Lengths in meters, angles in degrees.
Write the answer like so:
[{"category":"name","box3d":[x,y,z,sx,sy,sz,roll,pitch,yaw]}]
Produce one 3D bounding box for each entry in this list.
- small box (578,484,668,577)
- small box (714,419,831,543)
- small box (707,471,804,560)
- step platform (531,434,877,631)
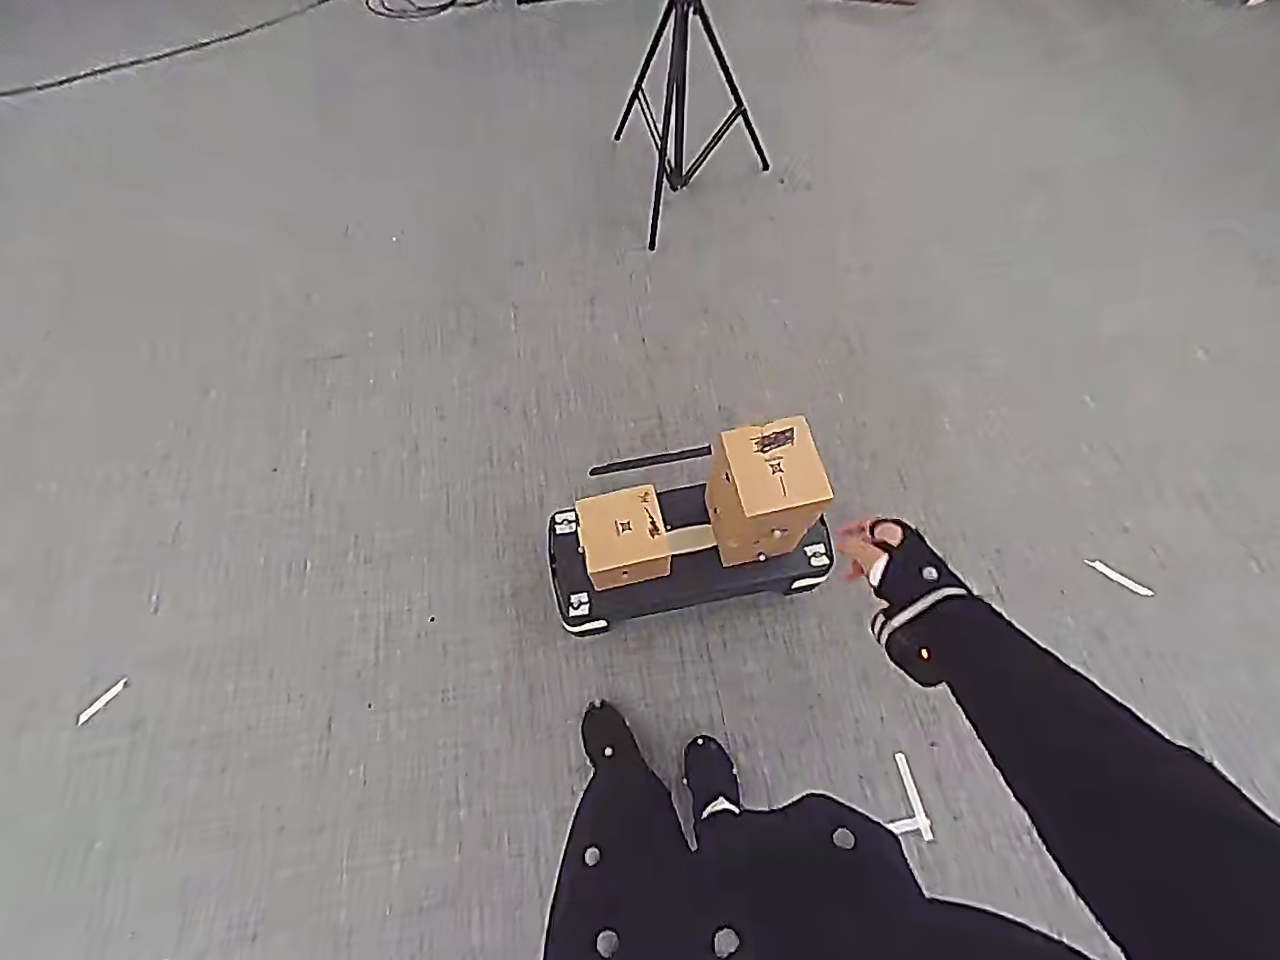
[{"category":"small box","box3d":[-0.037,0.131,1.207,0.179,0.176,0.168,-13,67,-3]},{"category":"small box","box3d":[0.250,0.006,1.070,0.168,0.176,0.179,-12,68,-2]},{"category":"small box","box3d":[0.248,0.076,1.219,0.168,0.176,0.179,-12,67,-2]},{"category":"step platform","box3d":[0.125,0.119,1.167,0.684,0.204,0.286,-10,66,-3]}]
